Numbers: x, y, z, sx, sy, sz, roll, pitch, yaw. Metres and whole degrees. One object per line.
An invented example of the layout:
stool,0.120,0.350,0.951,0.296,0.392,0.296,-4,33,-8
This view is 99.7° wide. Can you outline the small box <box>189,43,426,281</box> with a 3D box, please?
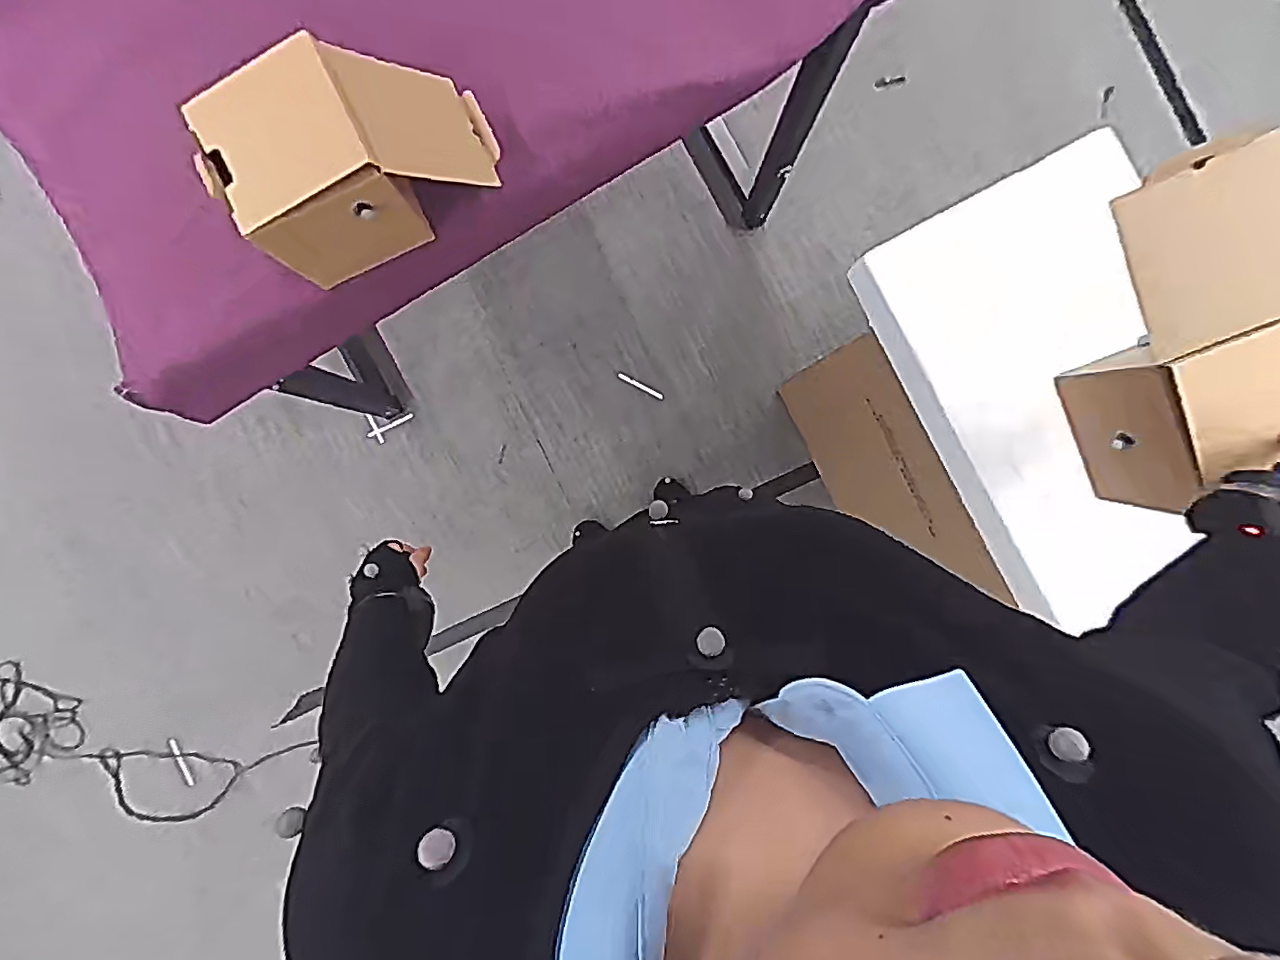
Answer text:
small box,-0.400,-0.387,0.691,0.179,0.176,0.168,-25,89,0
